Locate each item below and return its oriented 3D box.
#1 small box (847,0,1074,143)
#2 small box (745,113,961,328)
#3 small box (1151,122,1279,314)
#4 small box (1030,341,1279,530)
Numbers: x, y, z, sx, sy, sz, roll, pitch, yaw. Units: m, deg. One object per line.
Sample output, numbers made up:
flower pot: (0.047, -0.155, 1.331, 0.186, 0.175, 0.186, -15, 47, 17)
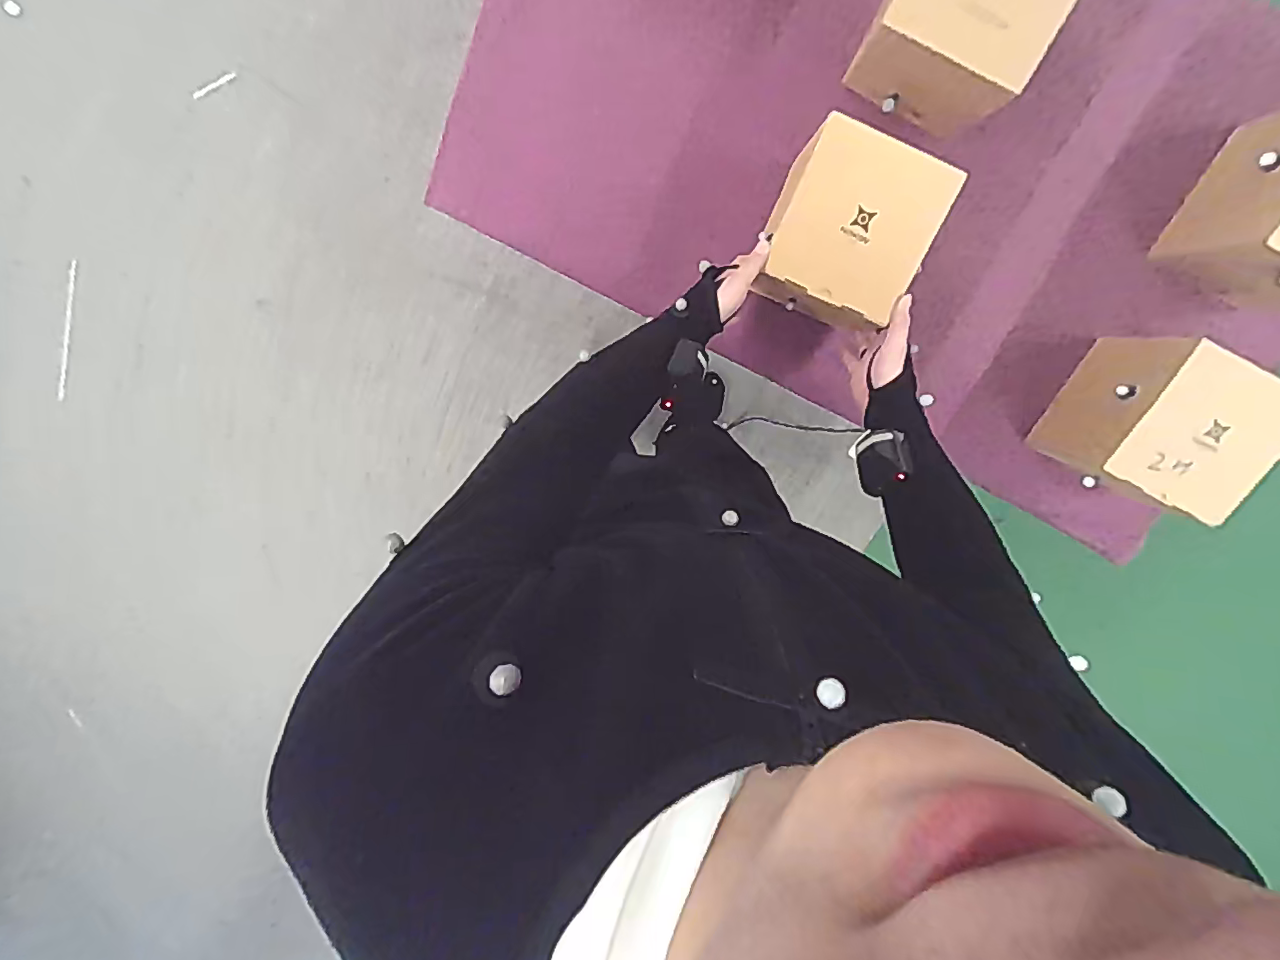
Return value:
small box: (0.364, -0.531, 0.616, 0.168, 0.176, 0.179, 27, 107, -2)
small box: (0.245, -0.305, 0.678, 0.168, 0.176, 0.179, 23, 106, -4)
small box: (0.783, -0.313, 0.638, 0.168, 0.176, 0.179, 26, 106, -1)
small box: (0.675, -0.068, 0.714, 0.168, 0.176, 0.179, 28, 106, -1)
